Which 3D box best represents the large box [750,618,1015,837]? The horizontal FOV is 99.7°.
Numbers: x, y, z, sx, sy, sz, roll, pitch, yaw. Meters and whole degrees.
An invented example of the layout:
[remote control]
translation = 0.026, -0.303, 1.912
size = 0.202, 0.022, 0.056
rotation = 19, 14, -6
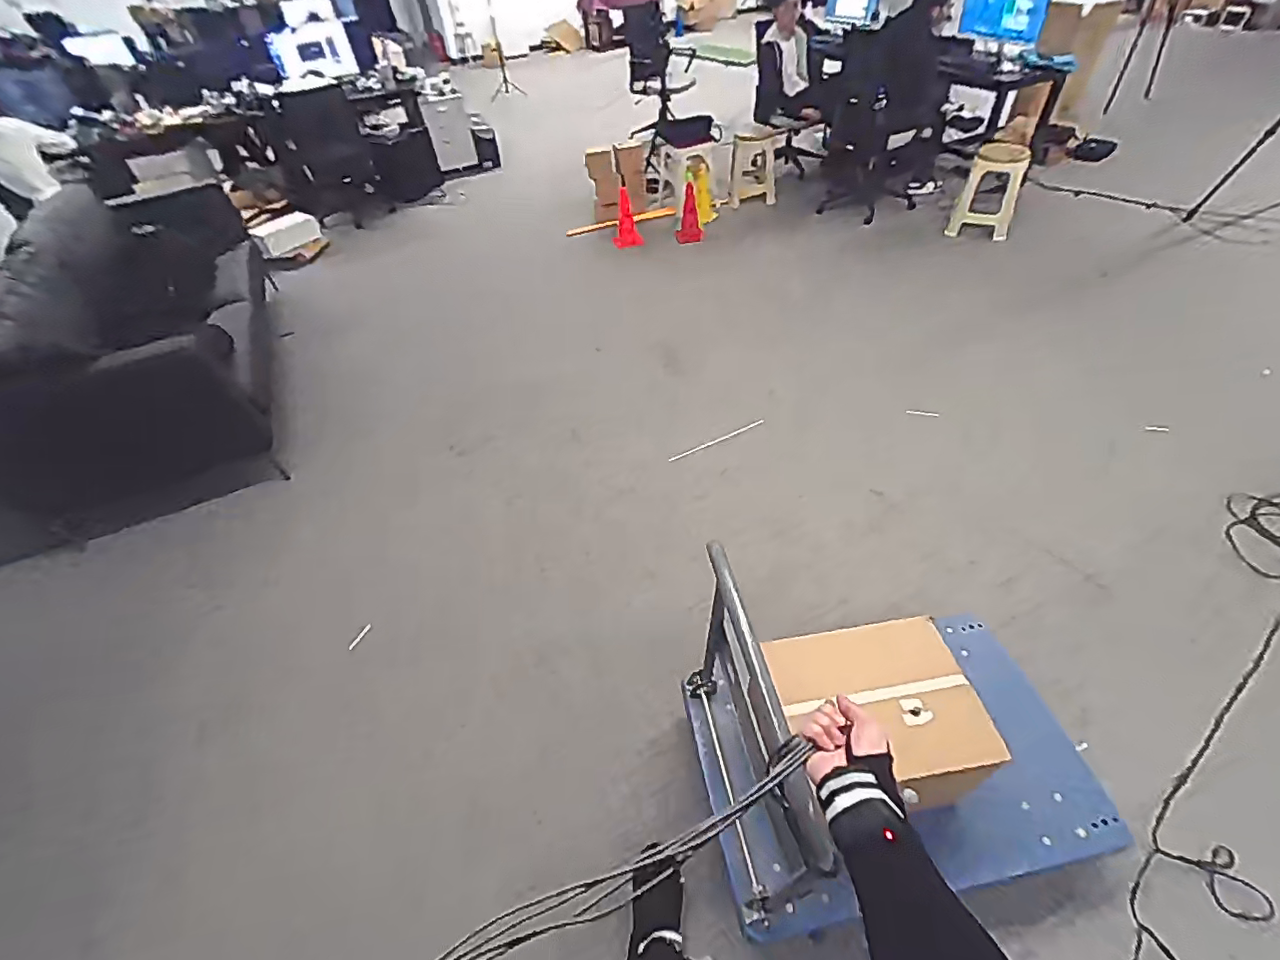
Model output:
[large box]
translation = 0.491, 0.549, 1.200
size = 0.408, 0.320, 0.320
rotation = -8, 46, -3
